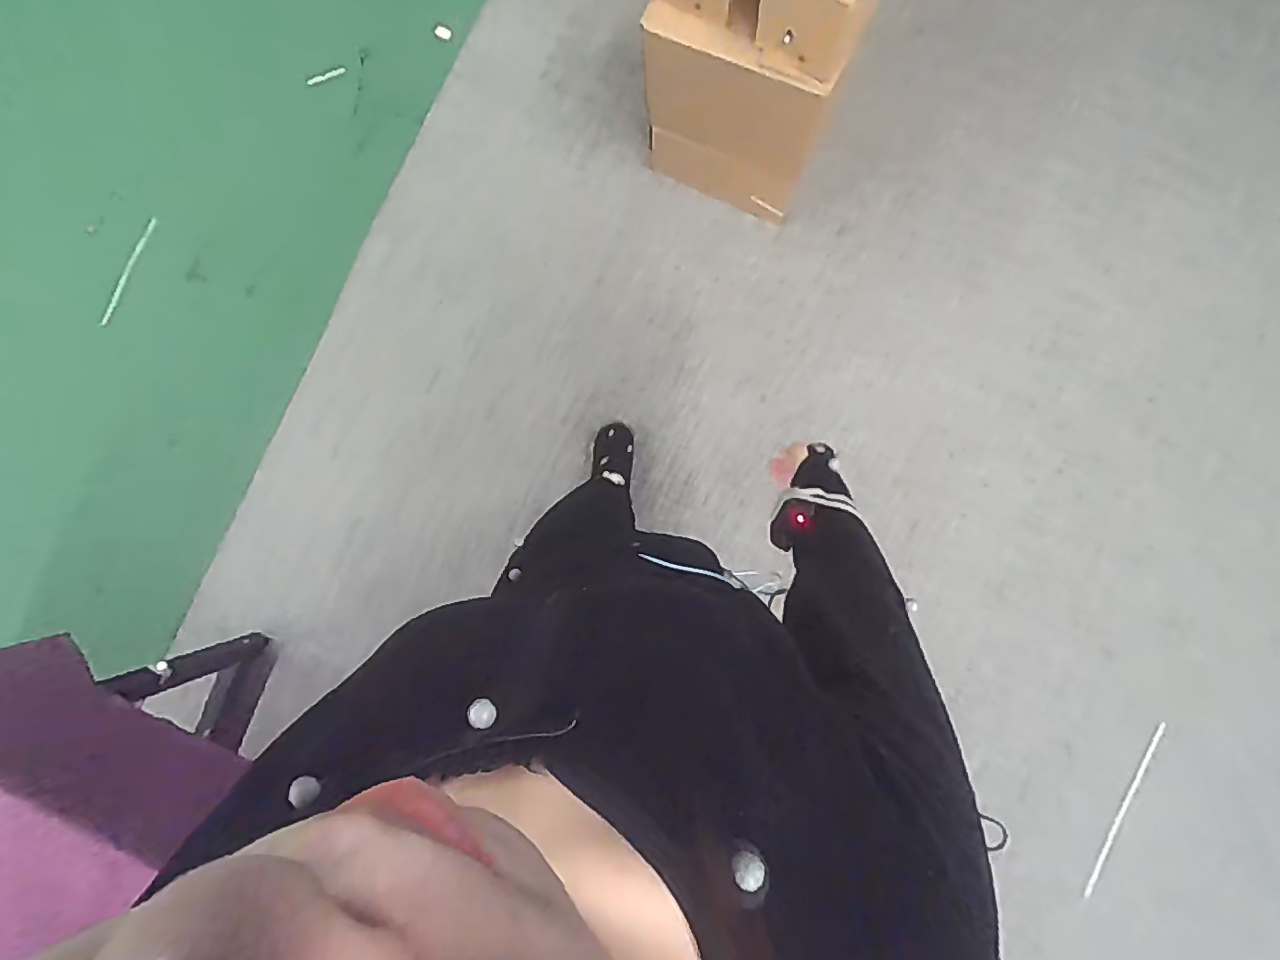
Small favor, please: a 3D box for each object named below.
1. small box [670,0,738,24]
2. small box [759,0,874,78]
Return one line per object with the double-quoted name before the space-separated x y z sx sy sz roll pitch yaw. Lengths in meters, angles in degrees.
"small box" 0.128 -1.006 0.995 0.168 0.176 0.179 27 91 3
"small box" 0.331 -0.890 0.973 0.168 0.176 0.179 32 91 6
